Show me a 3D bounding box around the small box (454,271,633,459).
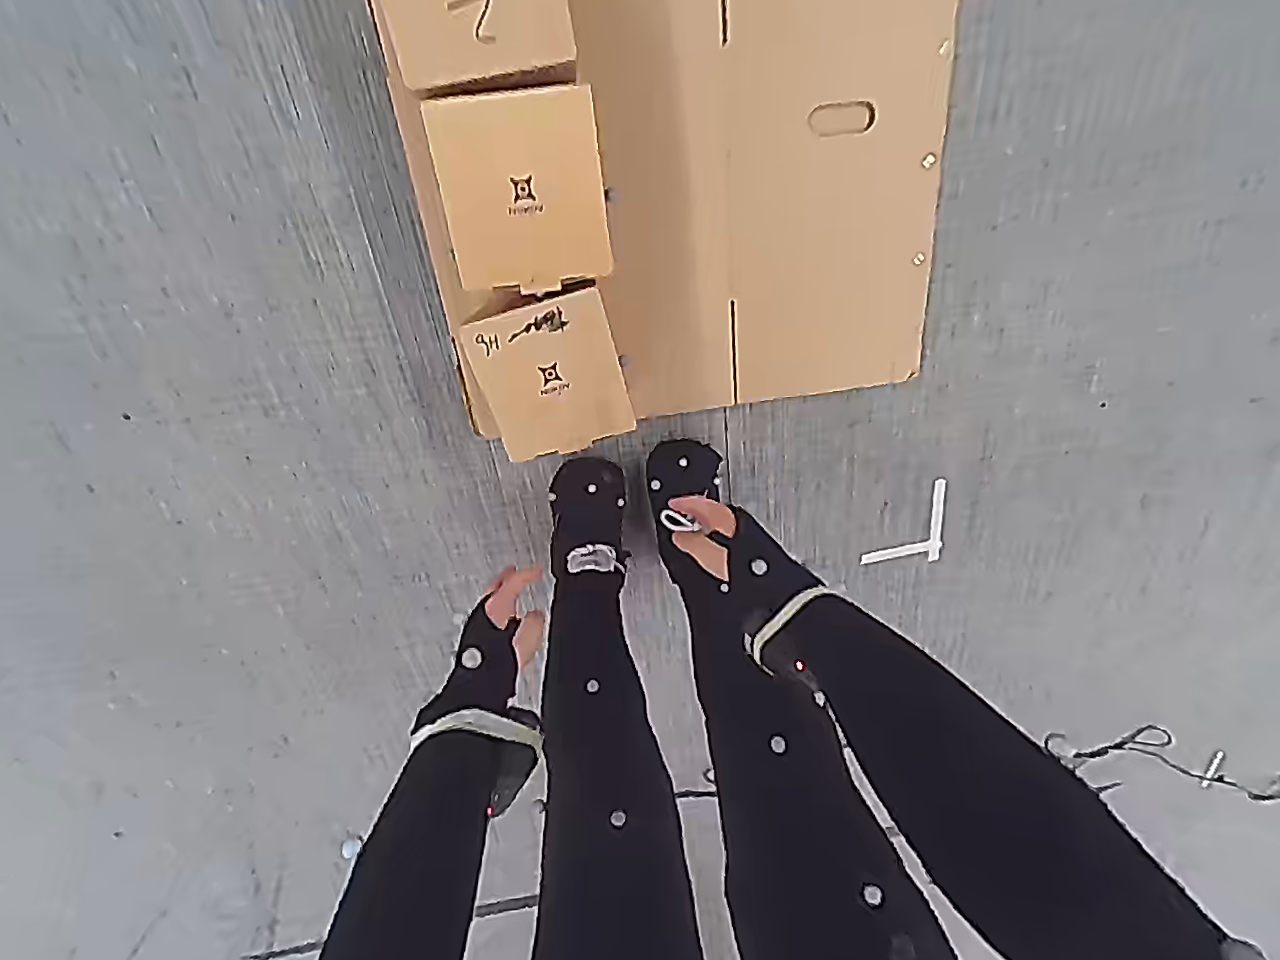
[{"bbox_3d":[-0.114,-0.155,0.697,0.168,0.176,0.179,-17,116,0],"label":"small box"}]
